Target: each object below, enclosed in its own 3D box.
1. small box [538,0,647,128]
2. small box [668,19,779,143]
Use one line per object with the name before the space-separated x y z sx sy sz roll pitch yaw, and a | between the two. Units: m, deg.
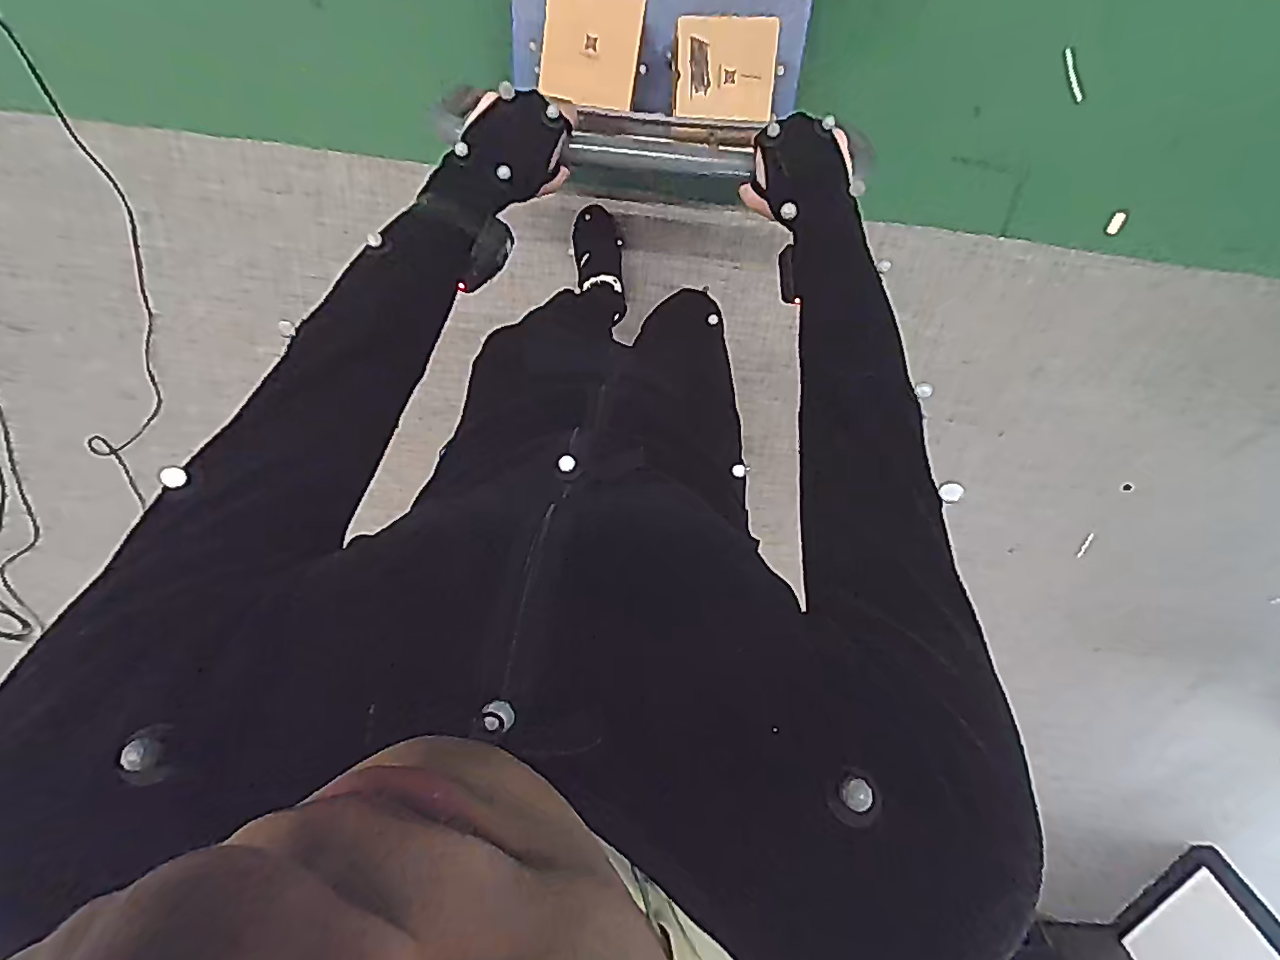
small box | -0.087 -0.775 0.999 0.168 0.176 0.179 10 118 -6
small box | 0.145 -0.737 1.017 0.179 0.176 0.168 1 118 -1
